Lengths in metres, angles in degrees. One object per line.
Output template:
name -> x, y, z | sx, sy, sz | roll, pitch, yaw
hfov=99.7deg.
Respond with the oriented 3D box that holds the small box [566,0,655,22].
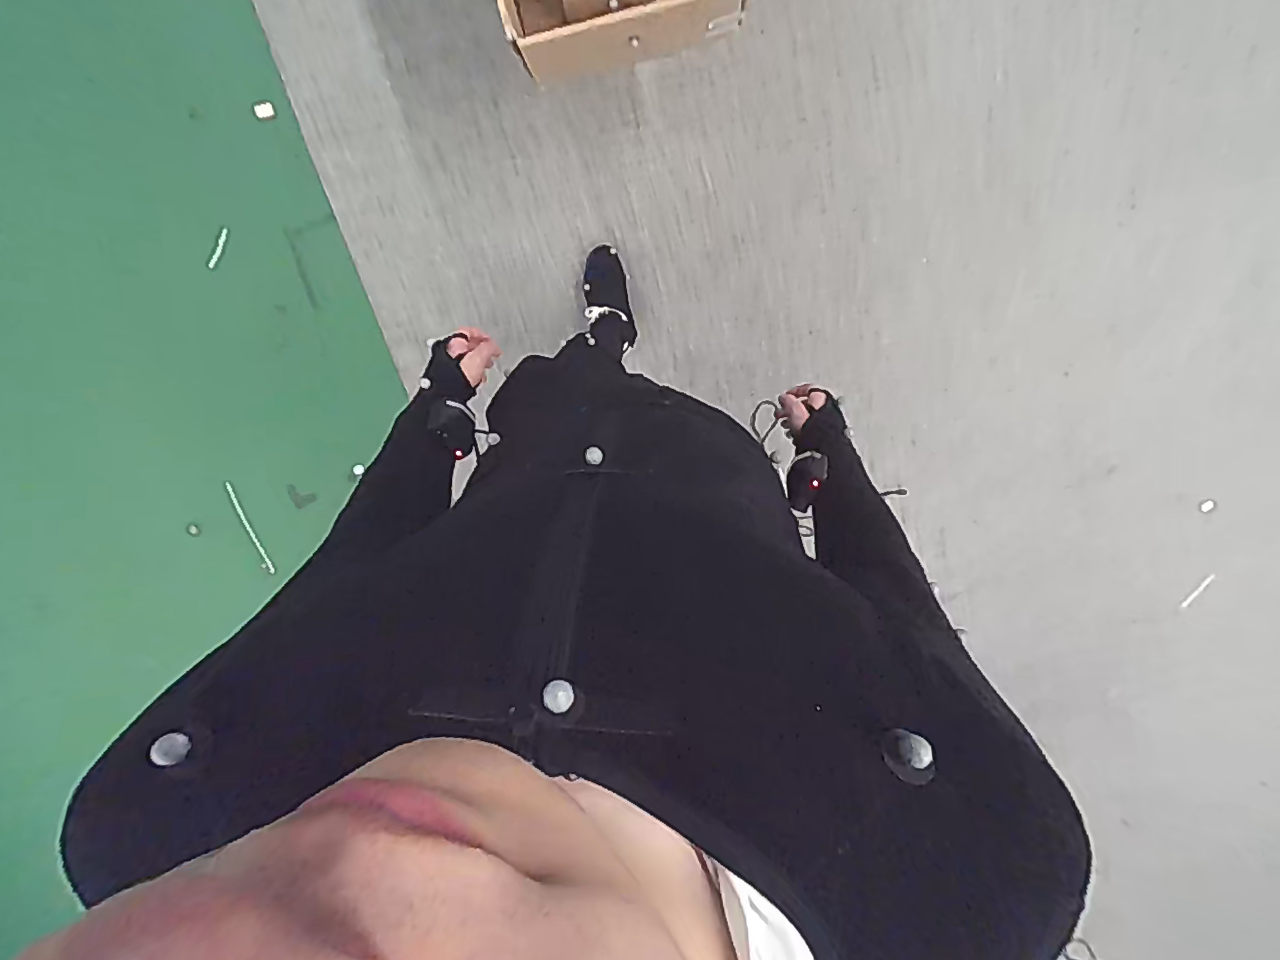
small box -> -0.061, -0.872, 0.839 | 0.168, 0.176, 0.179 | -11, 107, 5
